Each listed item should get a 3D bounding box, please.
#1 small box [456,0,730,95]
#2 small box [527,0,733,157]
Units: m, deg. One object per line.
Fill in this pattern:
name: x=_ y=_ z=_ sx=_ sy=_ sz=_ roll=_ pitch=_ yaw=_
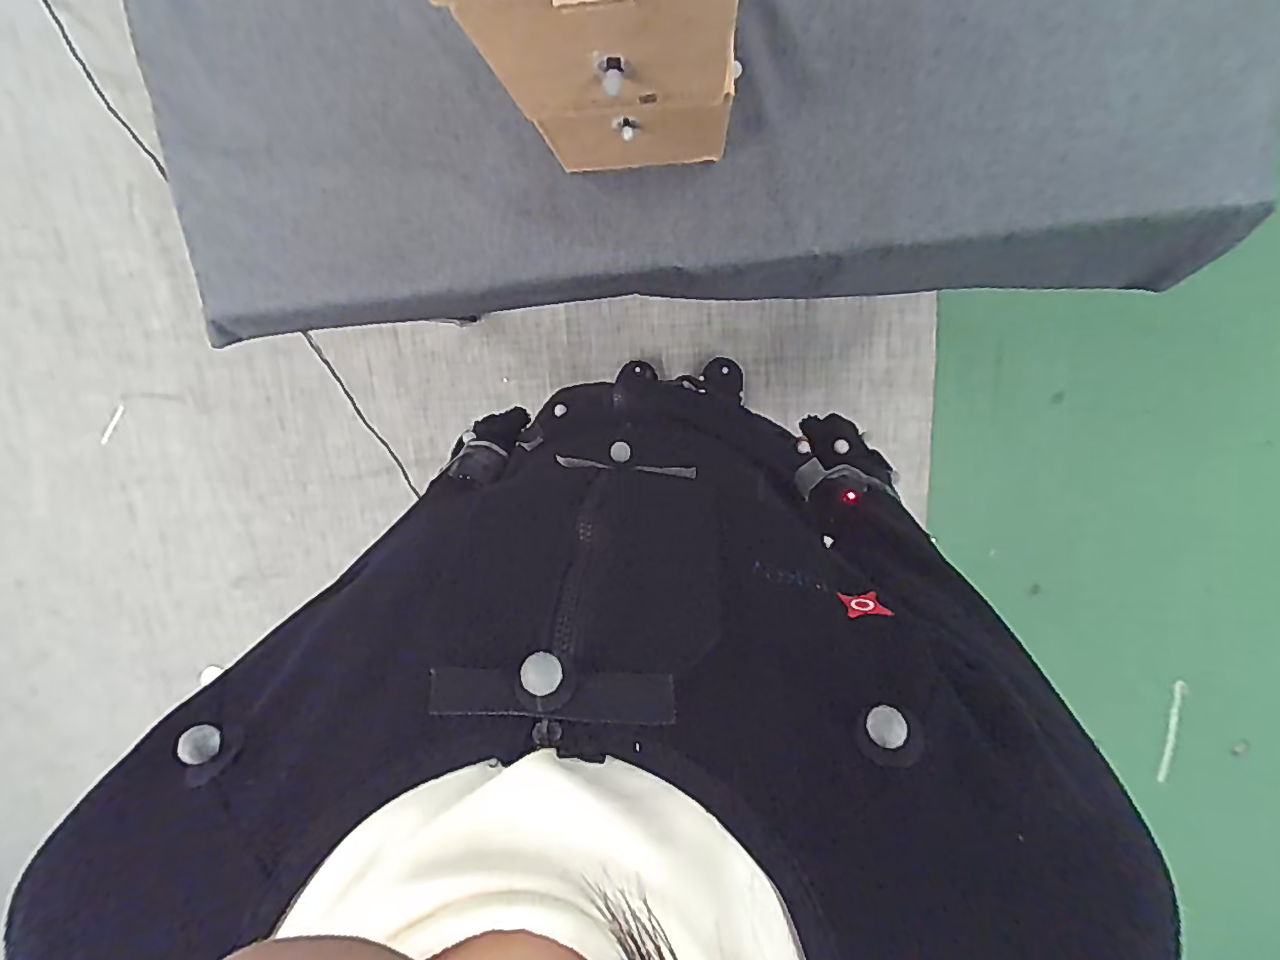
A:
small box: x=-0.024 y=-0.382 z=0.354 sx=0.168 sy=0.176 sz=0.179 roll=-1 pitch=105 yaw=5
small box: x=-0.006 y=-0.425 z=0.511 sx=0.179 sy=0.176 sz=0.168 roll=-2 pitch=105 yaw=4
